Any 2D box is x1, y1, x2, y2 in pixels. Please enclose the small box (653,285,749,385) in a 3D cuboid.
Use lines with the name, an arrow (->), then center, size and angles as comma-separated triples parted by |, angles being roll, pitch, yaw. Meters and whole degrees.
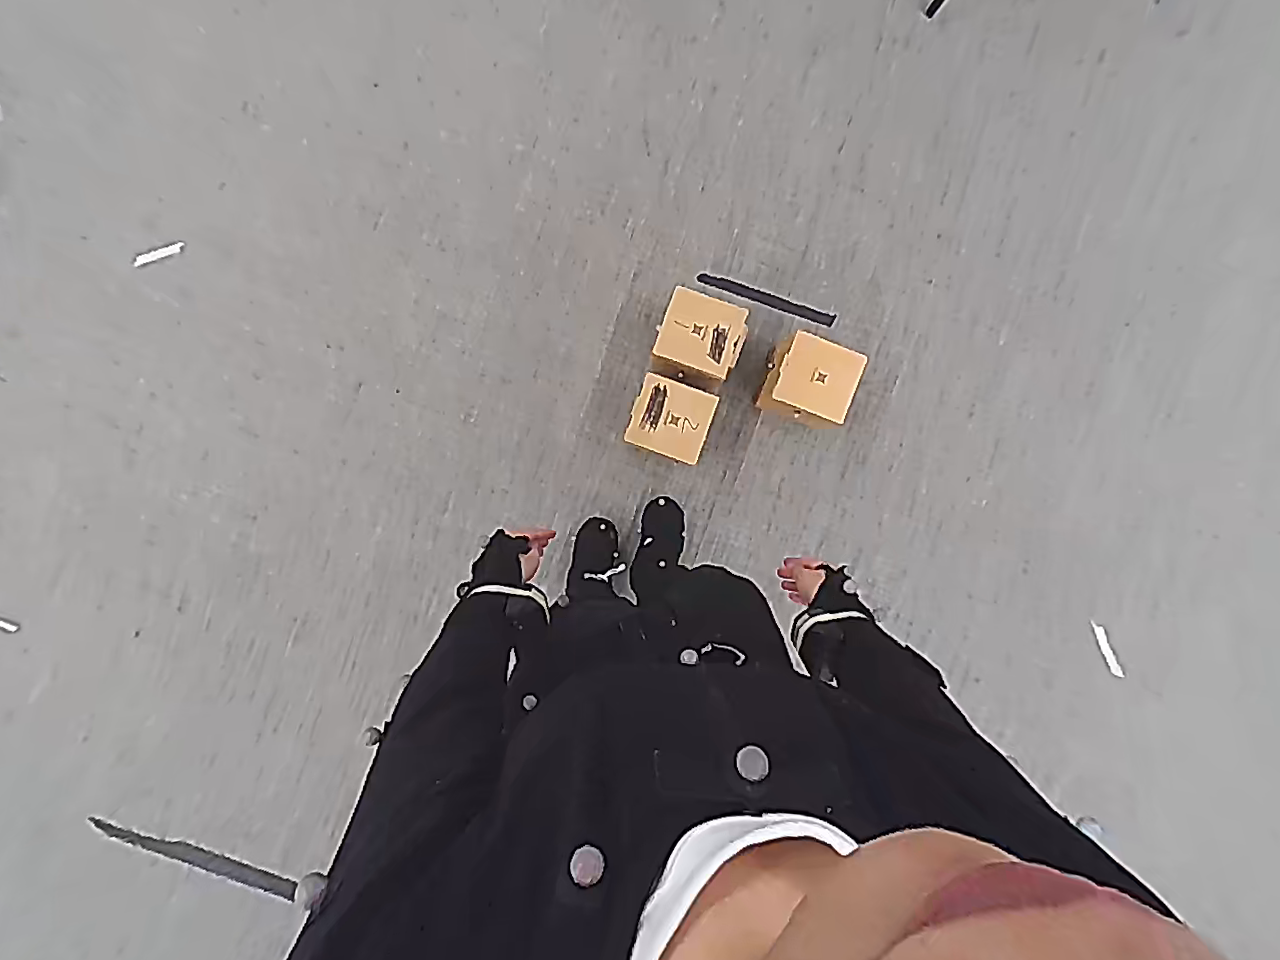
small box -> 0.138, -0.337, 1.296 | 0.179, 0.176, 0.168 | 20, 91, 0

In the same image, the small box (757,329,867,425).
small box -> 0.405, -0.239, 1.301 | 0.179, 0.176, 0.168 | 21, 91, 0
